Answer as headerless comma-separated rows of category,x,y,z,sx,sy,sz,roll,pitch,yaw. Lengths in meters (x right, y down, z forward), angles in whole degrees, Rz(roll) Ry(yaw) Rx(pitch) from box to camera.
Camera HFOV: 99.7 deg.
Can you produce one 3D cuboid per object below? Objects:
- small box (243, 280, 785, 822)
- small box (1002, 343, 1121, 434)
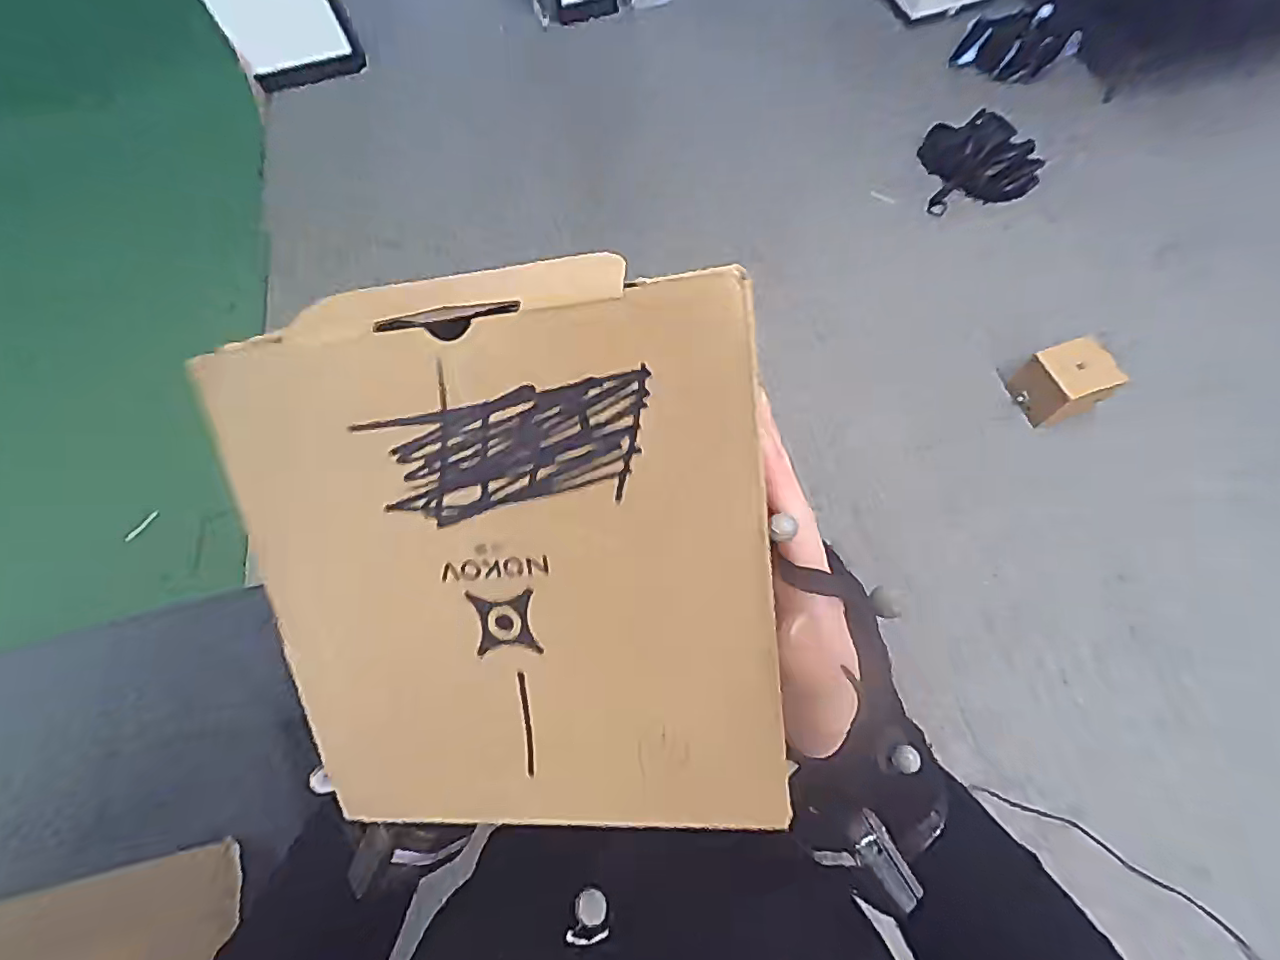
small box,-0.029,0.020,0.255,0.168,0.176,0.179,-5,101,10
small box,1.203,-0.259,1.558,0.179,0.176,0.168,-19,65,-3
